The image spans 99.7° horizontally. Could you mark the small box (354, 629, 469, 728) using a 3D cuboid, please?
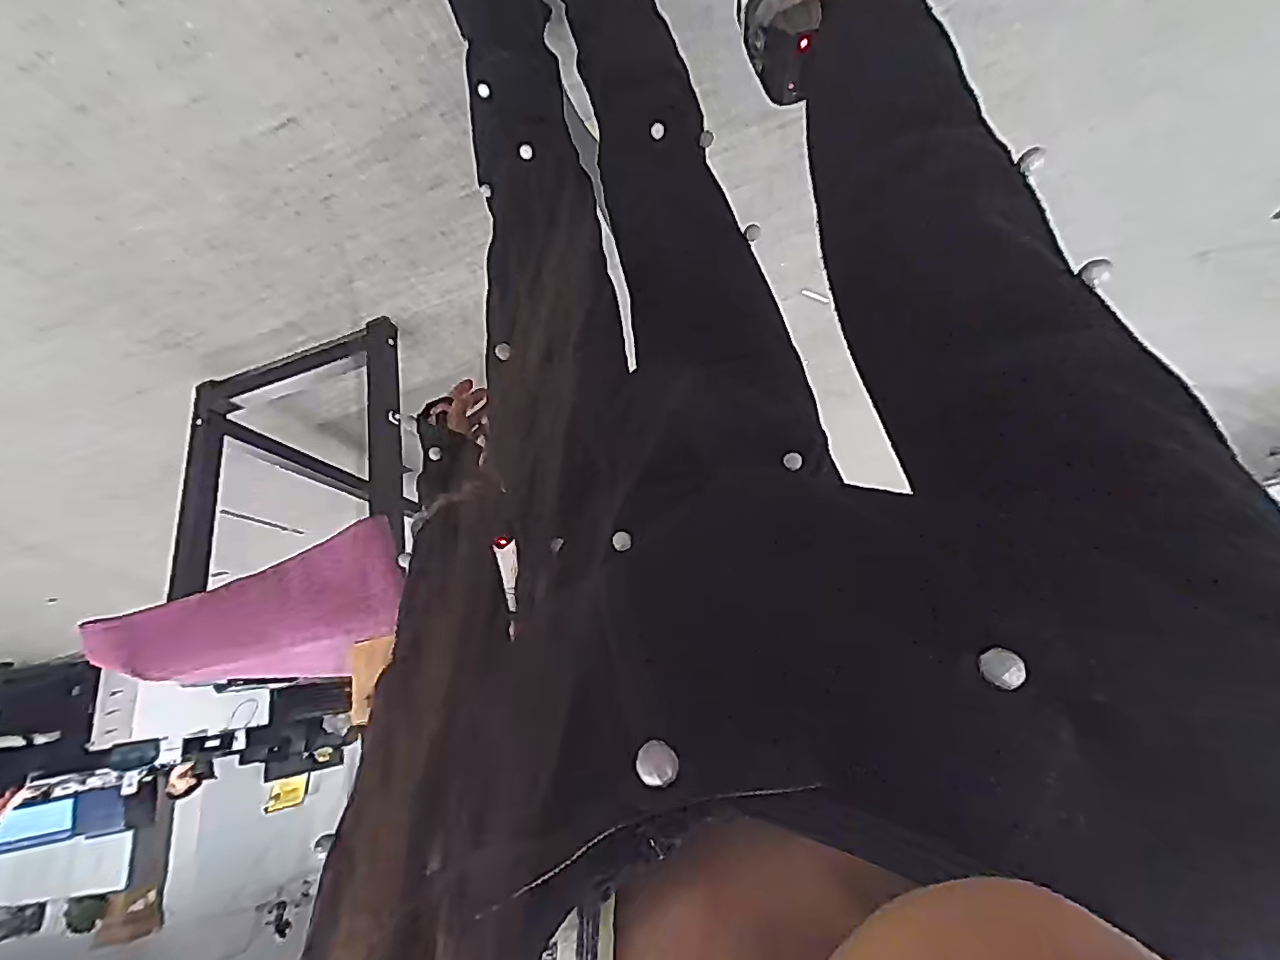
[{"bbox_3d":[-0.503,0.436,1.199,0.179,0.176,0.168,-16,160,11],"label":"small box"}]
